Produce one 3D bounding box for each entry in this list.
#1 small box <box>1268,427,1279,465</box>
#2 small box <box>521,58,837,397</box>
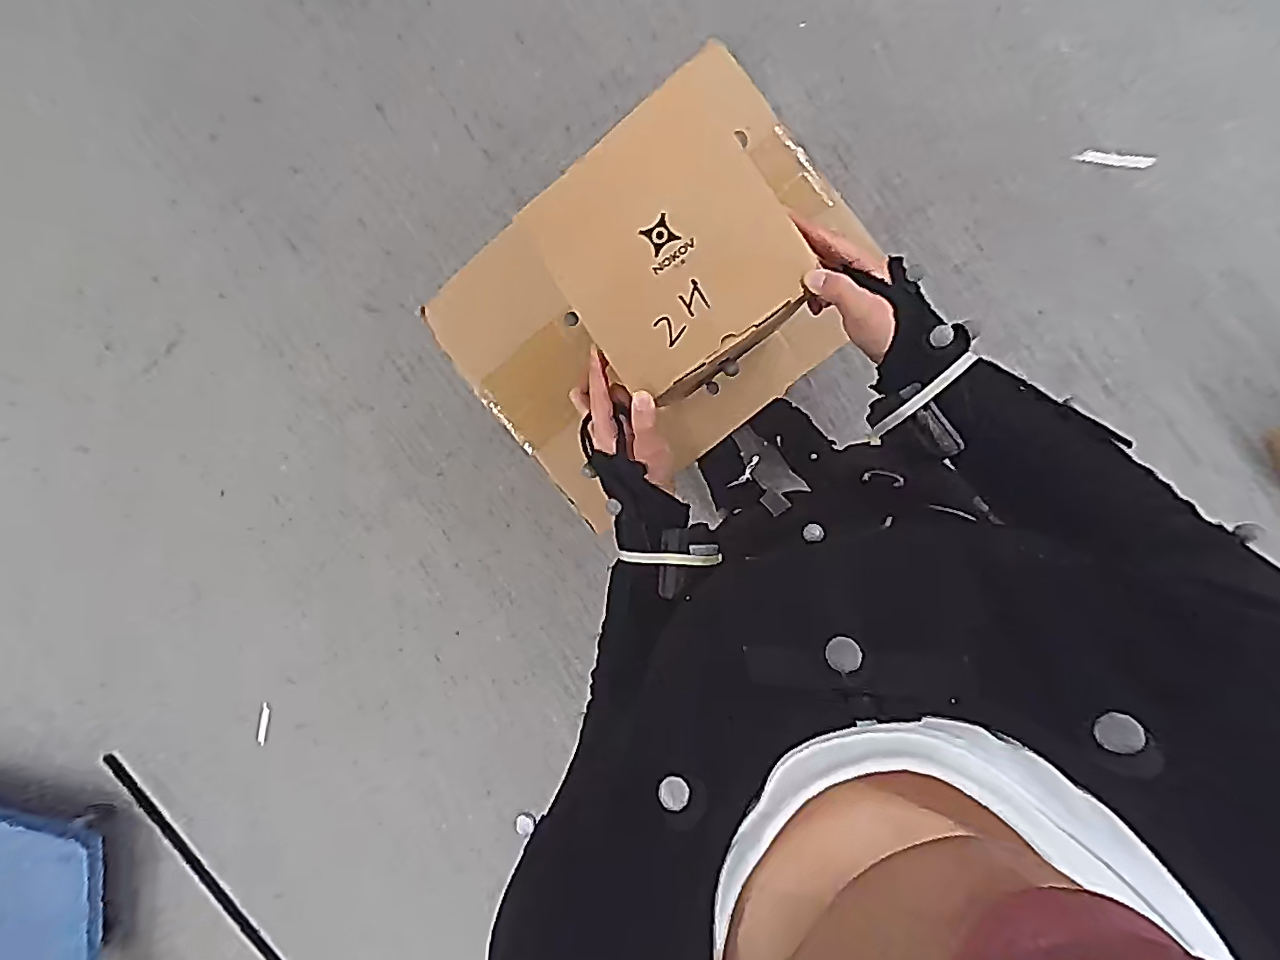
[{"bbox_3d":[1.507,-0.066,1.125,0.179,0.176,0.168,-29,93,10],"label":"small box"},{"bbox_3d":[0.033,-0.184,0.462,0.168,0.176,0.179,-34,92,10],"label":"small box"}]
